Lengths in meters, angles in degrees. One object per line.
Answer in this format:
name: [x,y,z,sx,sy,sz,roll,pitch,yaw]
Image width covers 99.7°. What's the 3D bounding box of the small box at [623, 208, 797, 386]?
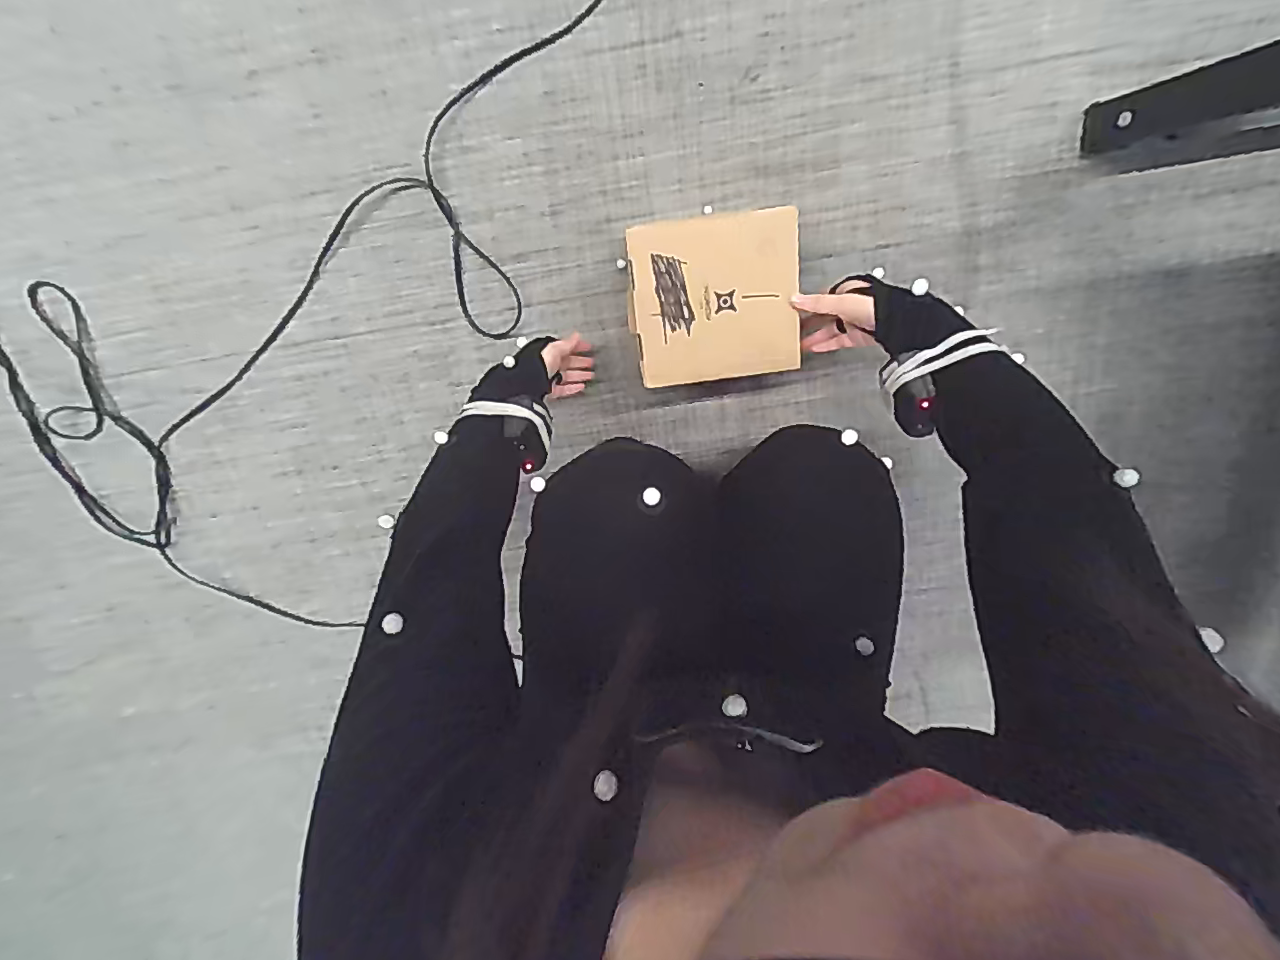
small box: [0.076,-0.217,0.645,0.179,0.176,0.168,-8,112,0]
